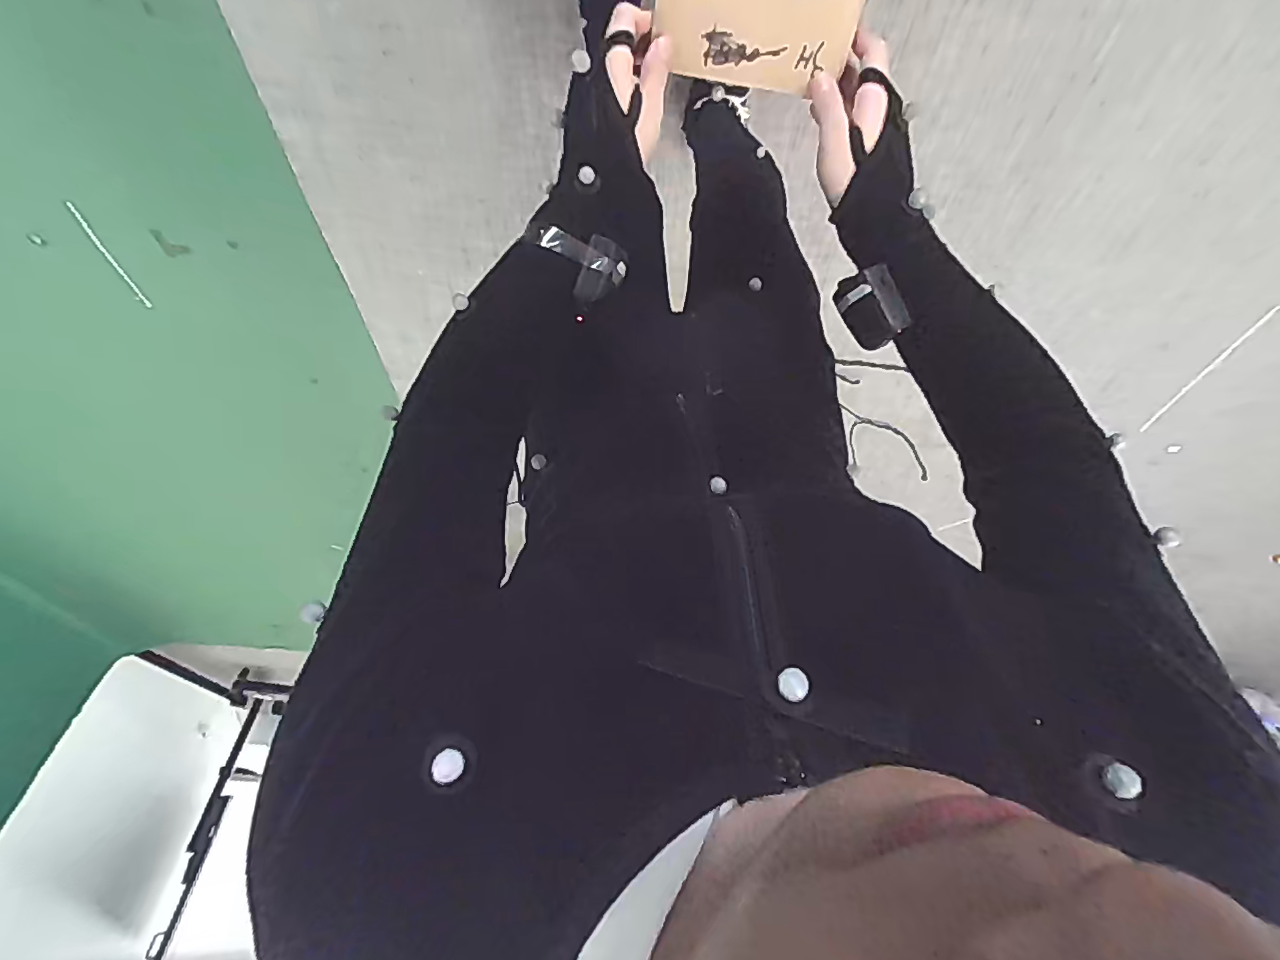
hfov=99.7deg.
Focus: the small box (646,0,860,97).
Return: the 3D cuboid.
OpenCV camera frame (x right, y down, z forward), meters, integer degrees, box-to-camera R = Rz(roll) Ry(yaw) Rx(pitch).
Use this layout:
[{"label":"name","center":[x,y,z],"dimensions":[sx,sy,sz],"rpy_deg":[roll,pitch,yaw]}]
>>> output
[{"label":"small box","center":[0.105,-0.458,0.472],"dimensions":[0.168,0.176,0.179],"rpy_deg":[11,129,0]}]
